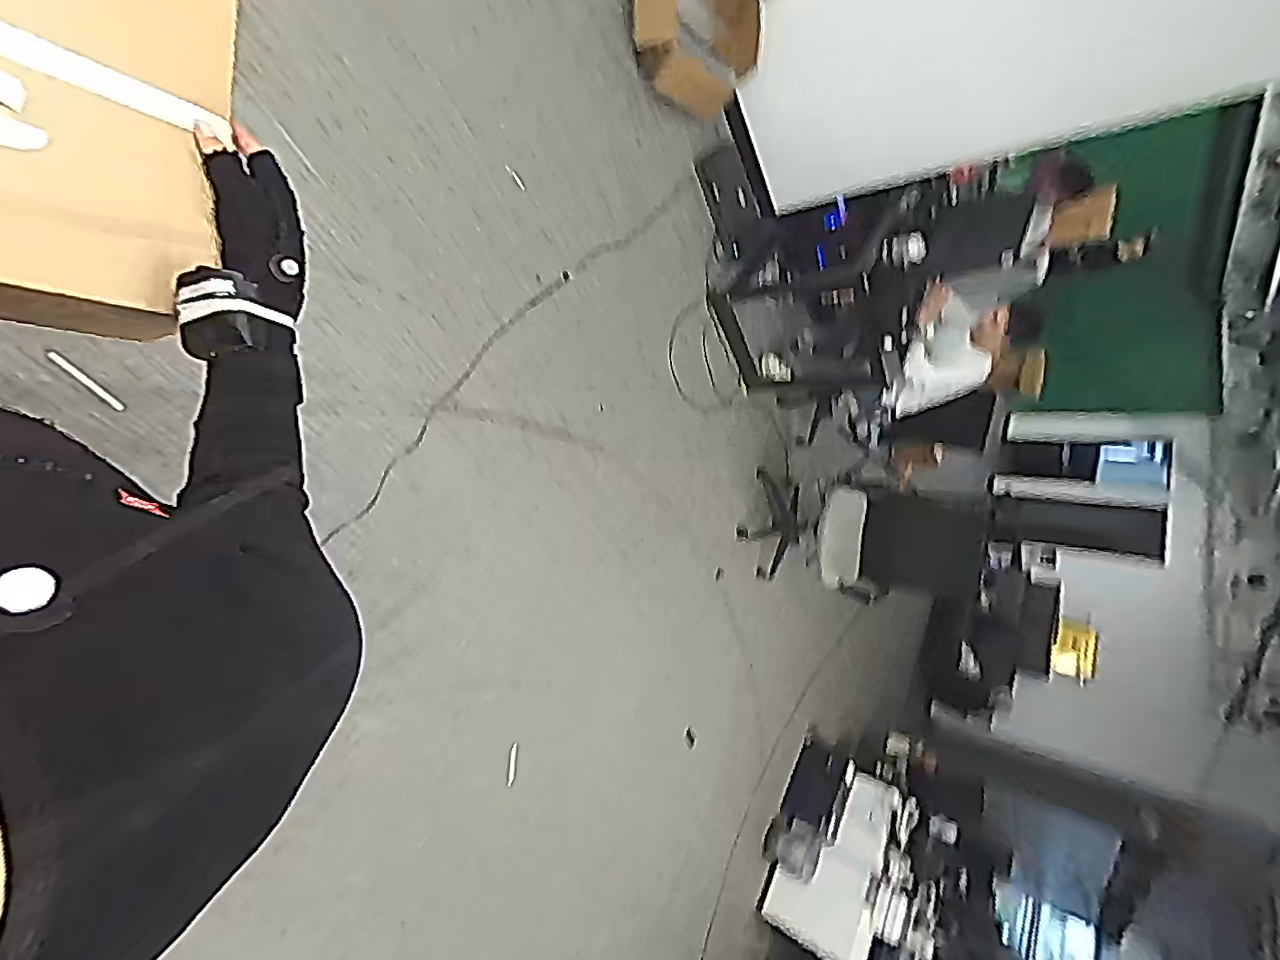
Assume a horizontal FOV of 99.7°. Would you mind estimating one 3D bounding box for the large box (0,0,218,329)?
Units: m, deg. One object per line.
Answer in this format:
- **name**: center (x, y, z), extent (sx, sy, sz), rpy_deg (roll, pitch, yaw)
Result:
- **large box**: center (-0.598, -0.312, 0.392), extent (0.408, 0.320, 0.320), rpy_deg (-1, 97, -52)
